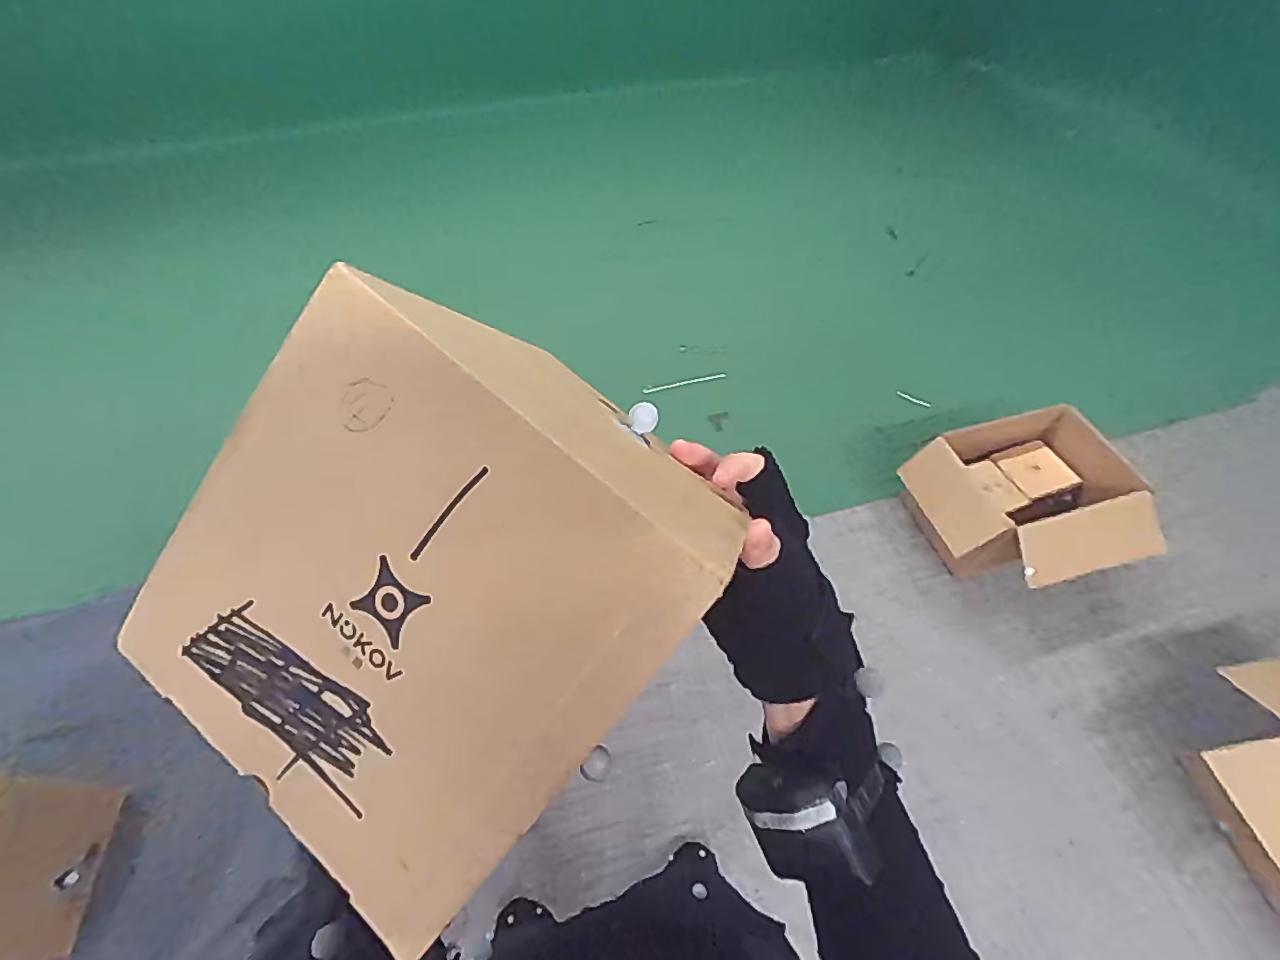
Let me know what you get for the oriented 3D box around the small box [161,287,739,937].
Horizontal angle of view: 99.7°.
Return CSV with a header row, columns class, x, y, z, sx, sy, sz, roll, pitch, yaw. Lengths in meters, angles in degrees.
class,x,y,z,sx,sy,sz,roll,pitch,yaw
small box,-0.064,0.045,0.268,0.168,0.176,0.179,39,100,9
